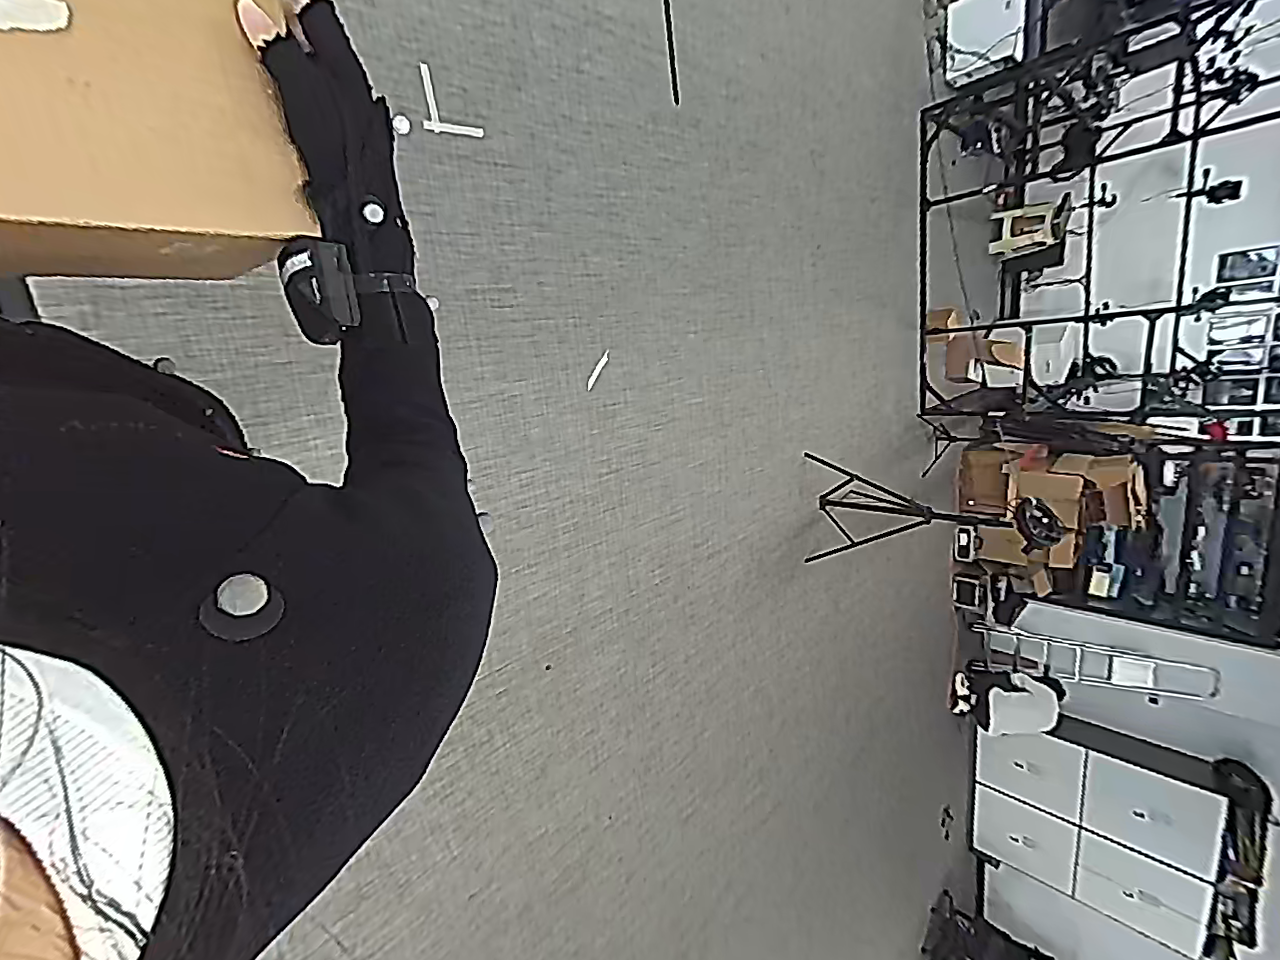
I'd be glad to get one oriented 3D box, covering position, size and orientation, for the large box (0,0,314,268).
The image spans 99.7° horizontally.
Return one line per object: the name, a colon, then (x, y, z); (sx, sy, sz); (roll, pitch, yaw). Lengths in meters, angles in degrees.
large box: (-0.492, -0.305, 0.318); (0.408, 0.320, 0.320); (-19, 114, -44)
